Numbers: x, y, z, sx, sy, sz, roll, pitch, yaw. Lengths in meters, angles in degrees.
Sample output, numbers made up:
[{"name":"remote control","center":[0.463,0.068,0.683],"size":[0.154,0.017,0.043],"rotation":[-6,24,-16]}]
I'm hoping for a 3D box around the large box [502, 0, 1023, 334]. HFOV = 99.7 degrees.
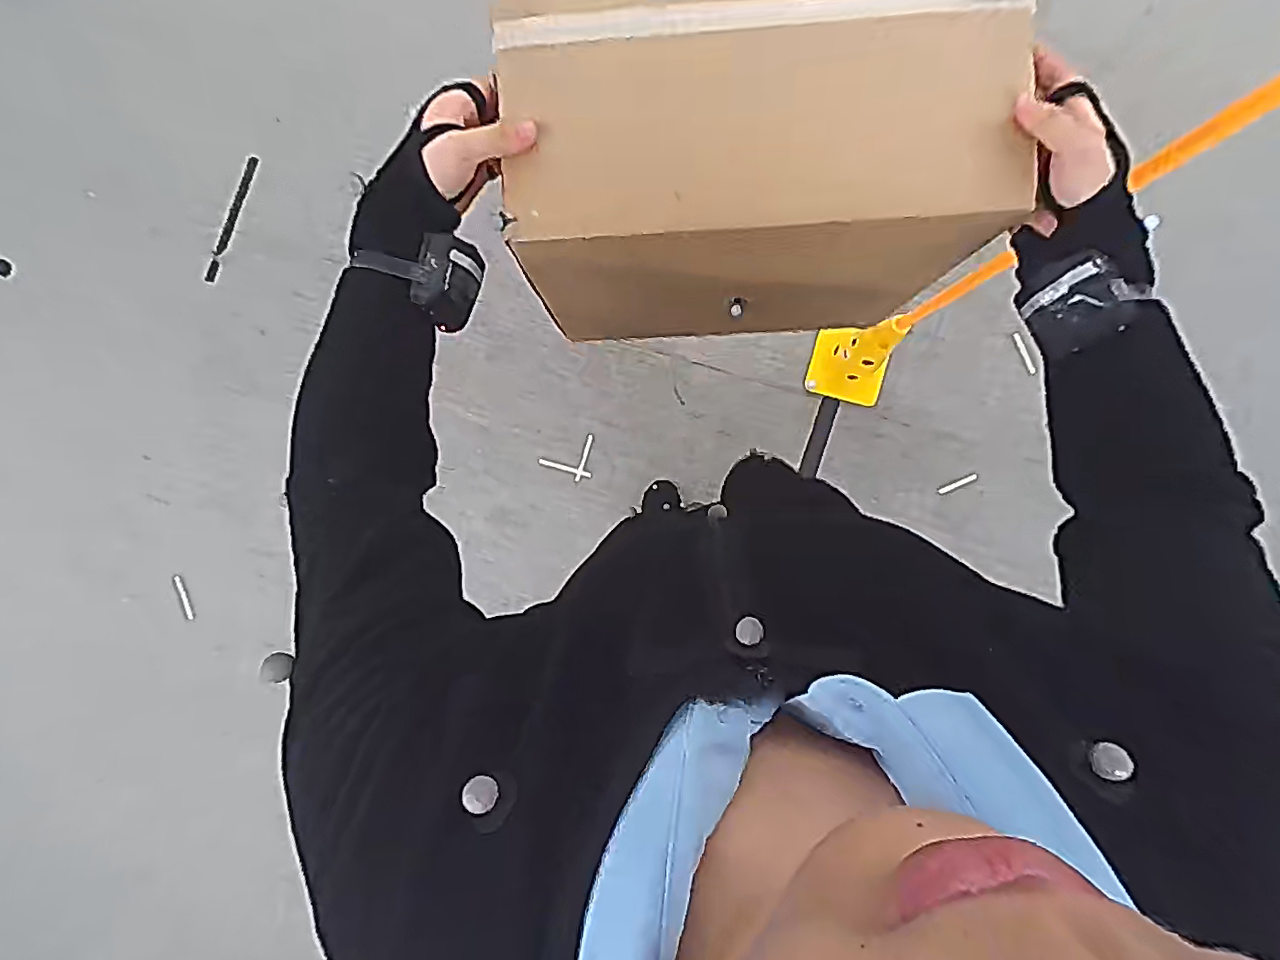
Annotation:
[{"name":"large box","center":[0.098,-0.356,0.572],"size":[0.408,0.320,0.320],"rotation":[-3,89,3]}]
